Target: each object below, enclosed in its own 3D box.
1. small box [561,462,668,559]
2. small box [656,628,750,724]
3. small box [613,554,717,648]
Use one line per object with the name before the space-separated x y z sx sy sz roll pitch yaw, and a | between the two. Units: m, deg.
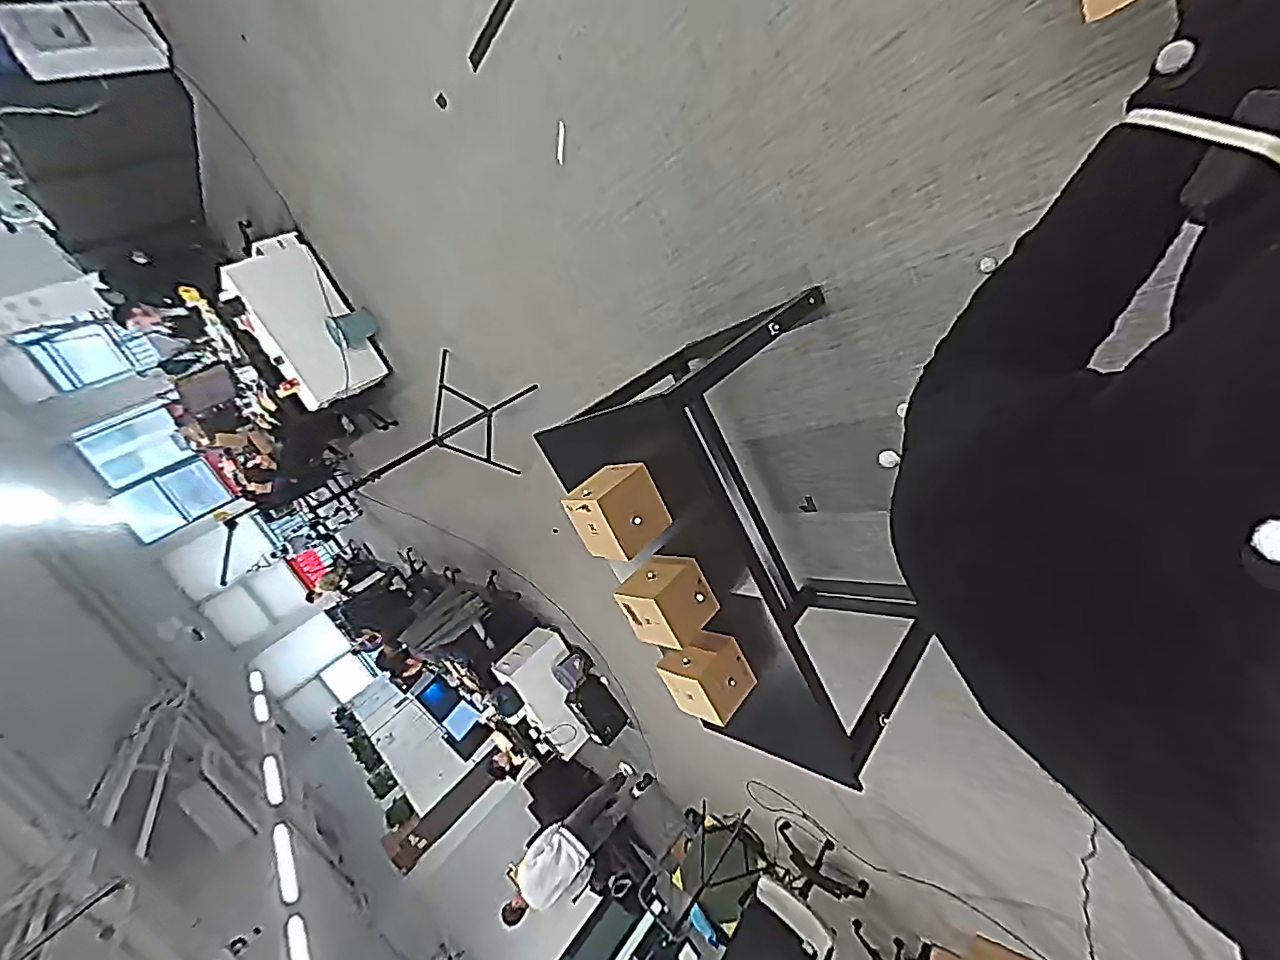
small box | -0.058 0.072 1.345 0.168 0.176 0.179 -2 121 52
small box | 0.183 0.535 1.505 0.179 0.176 0.168 -6 117 53
small box | 0.068 0.310 1.425 0.179 0.176 0.168 -6 117 52
